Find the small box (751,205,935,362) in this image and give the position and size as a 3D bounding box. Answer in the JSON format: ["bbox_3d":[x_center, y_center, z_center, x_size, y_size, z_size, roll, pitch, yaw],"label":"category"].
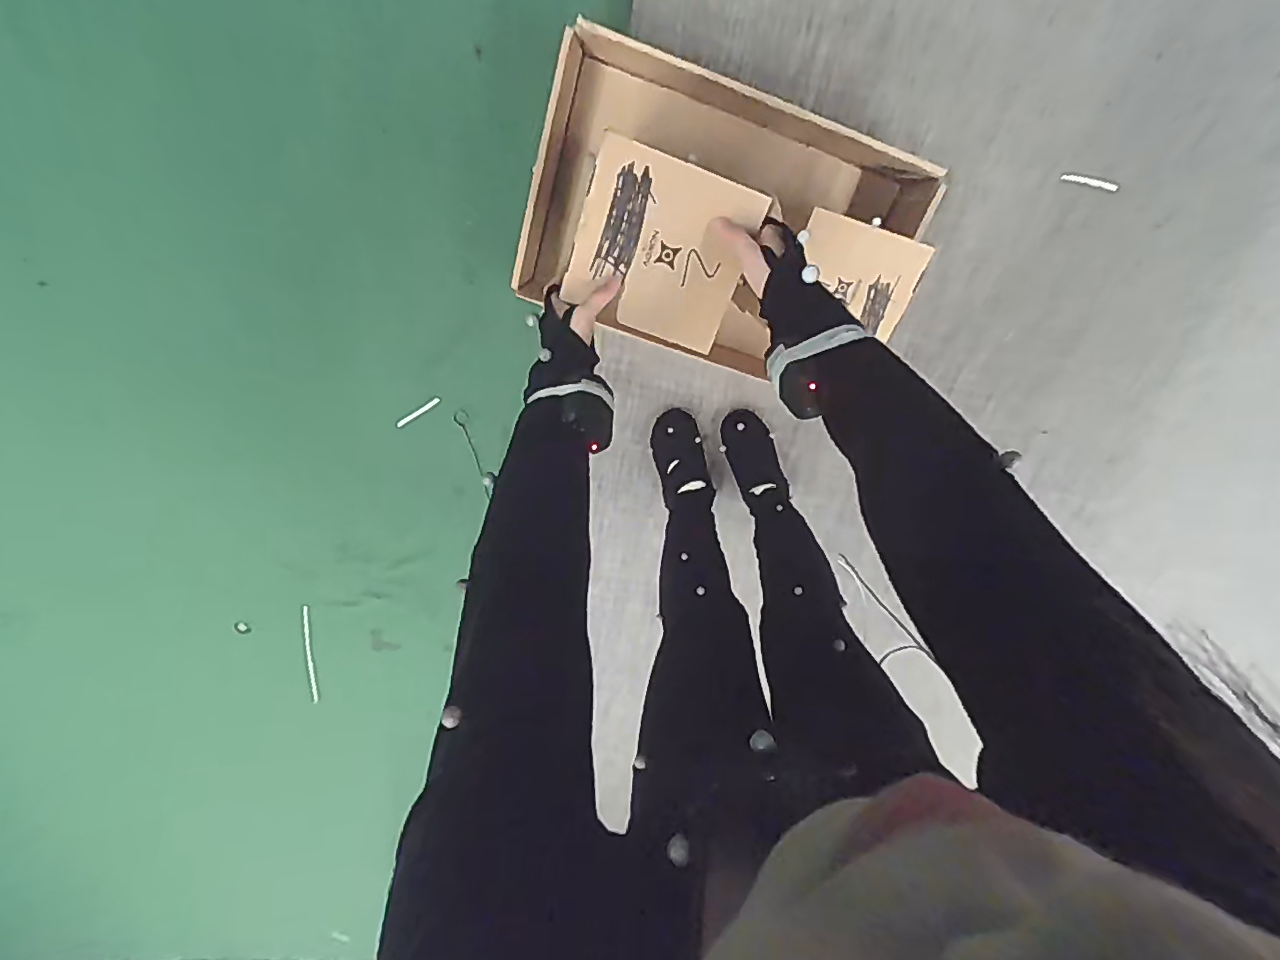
[{"bbox_3d":[0.281,-0.295,0.796,0.179,0.176,0.168,16,116,-6],"label":"small box"}]

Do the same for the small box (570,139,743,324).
[{"bbox_3d":[0.017,-0.350,0.775,0.179,0.176,0.168,25,114,-14],"label":"small box"}]
